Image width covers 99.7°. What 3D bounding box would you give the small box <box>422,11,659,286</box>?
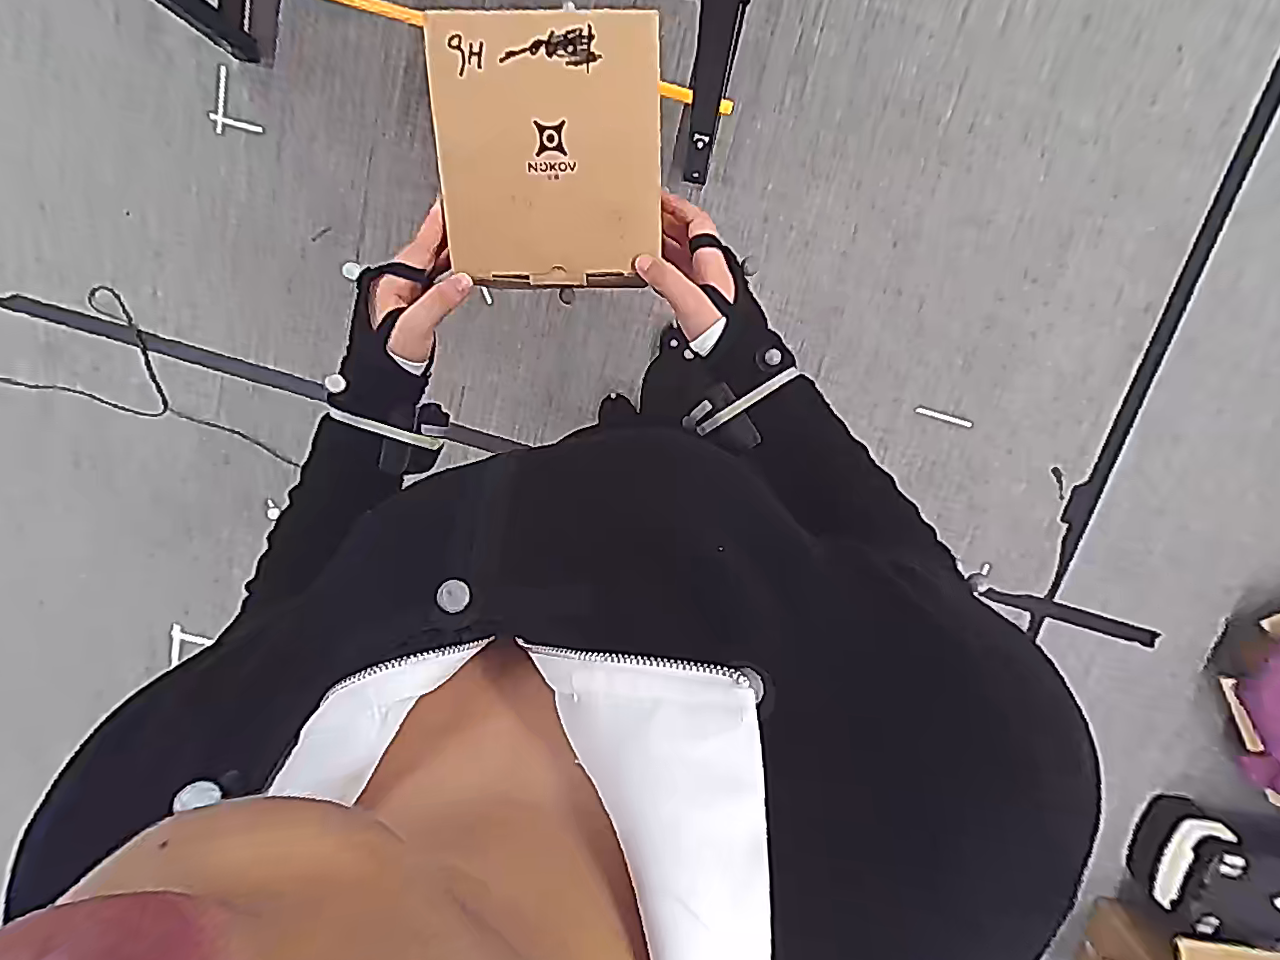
[{"bbox_3d":[-0.070,-0.263,0.473,0.168,0.176,0.179,-2,107,-2],"label":"small box"}]
